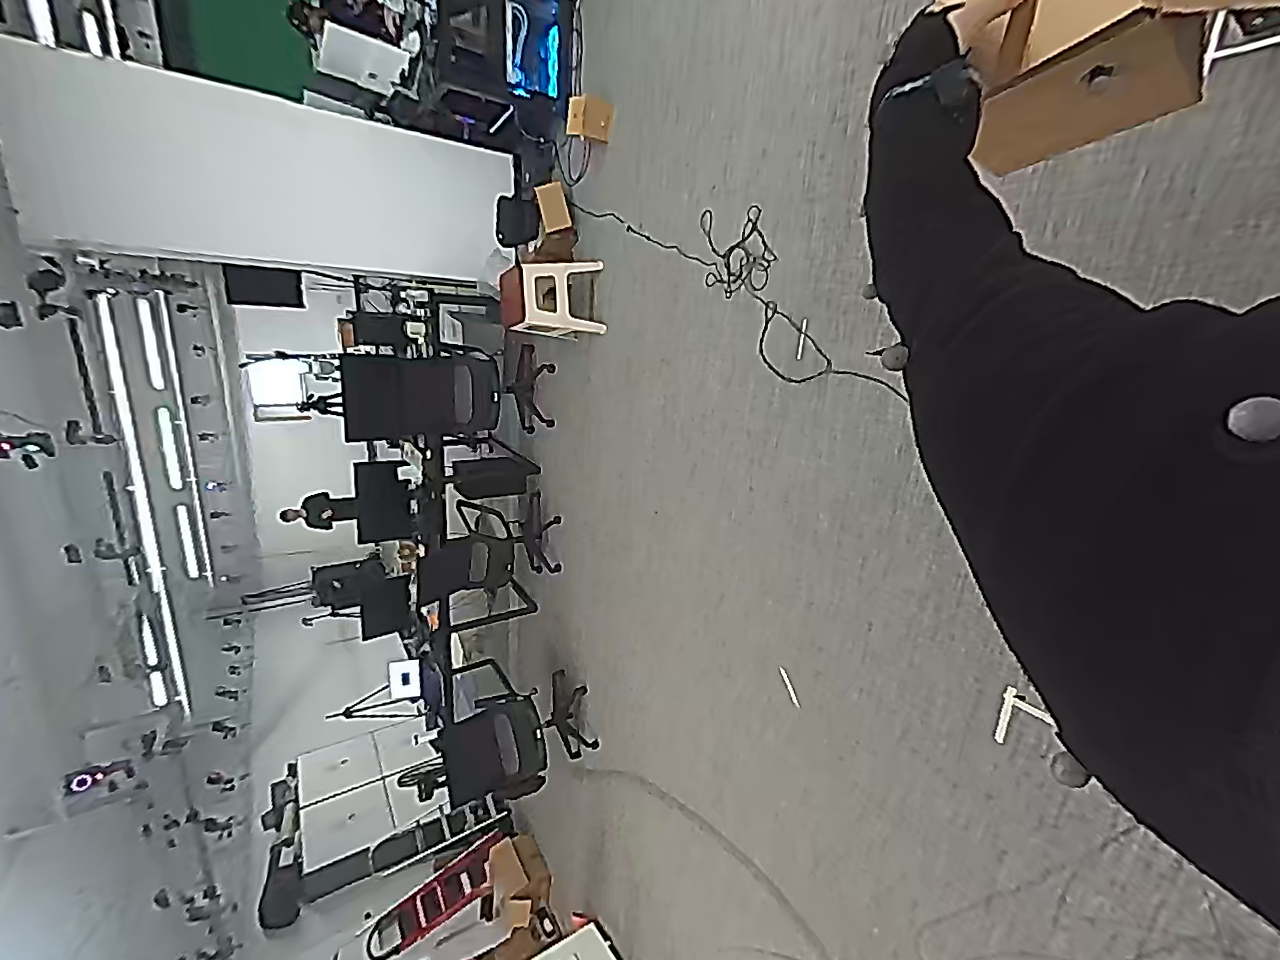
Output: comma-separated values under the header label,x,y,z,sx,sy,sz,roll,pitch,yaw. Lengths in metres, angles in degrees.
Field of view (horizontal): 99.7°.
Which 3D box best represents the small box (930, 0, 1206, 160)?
label,x,y,z,sx,sy,sz,roll,pitch,yaw
small box,0.411,-0.448,0.519,0.179,0.176,0.168,5,95,55
